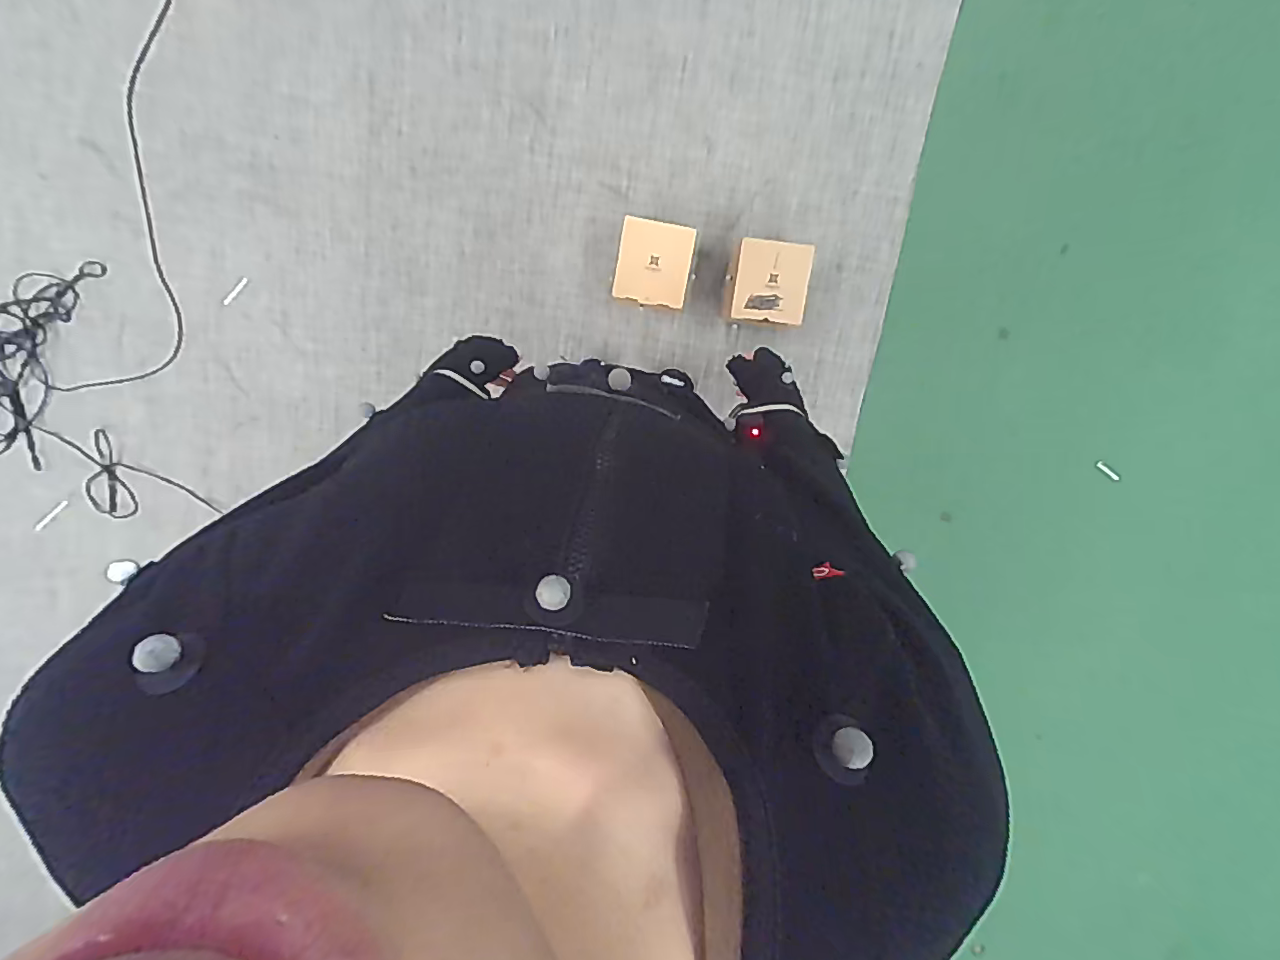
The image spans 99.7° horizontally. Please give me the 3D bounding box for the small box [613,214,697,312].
[{"bbox_3d":[0.033,-0.509,1.288,0.168,0.176,0.179,10,104,-1],"label":"small box"}]

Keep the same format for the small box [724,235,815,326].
[{"bbox_3d":[0.299,-0.467,1.290,0.168,0.176,0.179,7,103,0],"label":"small box"}]
